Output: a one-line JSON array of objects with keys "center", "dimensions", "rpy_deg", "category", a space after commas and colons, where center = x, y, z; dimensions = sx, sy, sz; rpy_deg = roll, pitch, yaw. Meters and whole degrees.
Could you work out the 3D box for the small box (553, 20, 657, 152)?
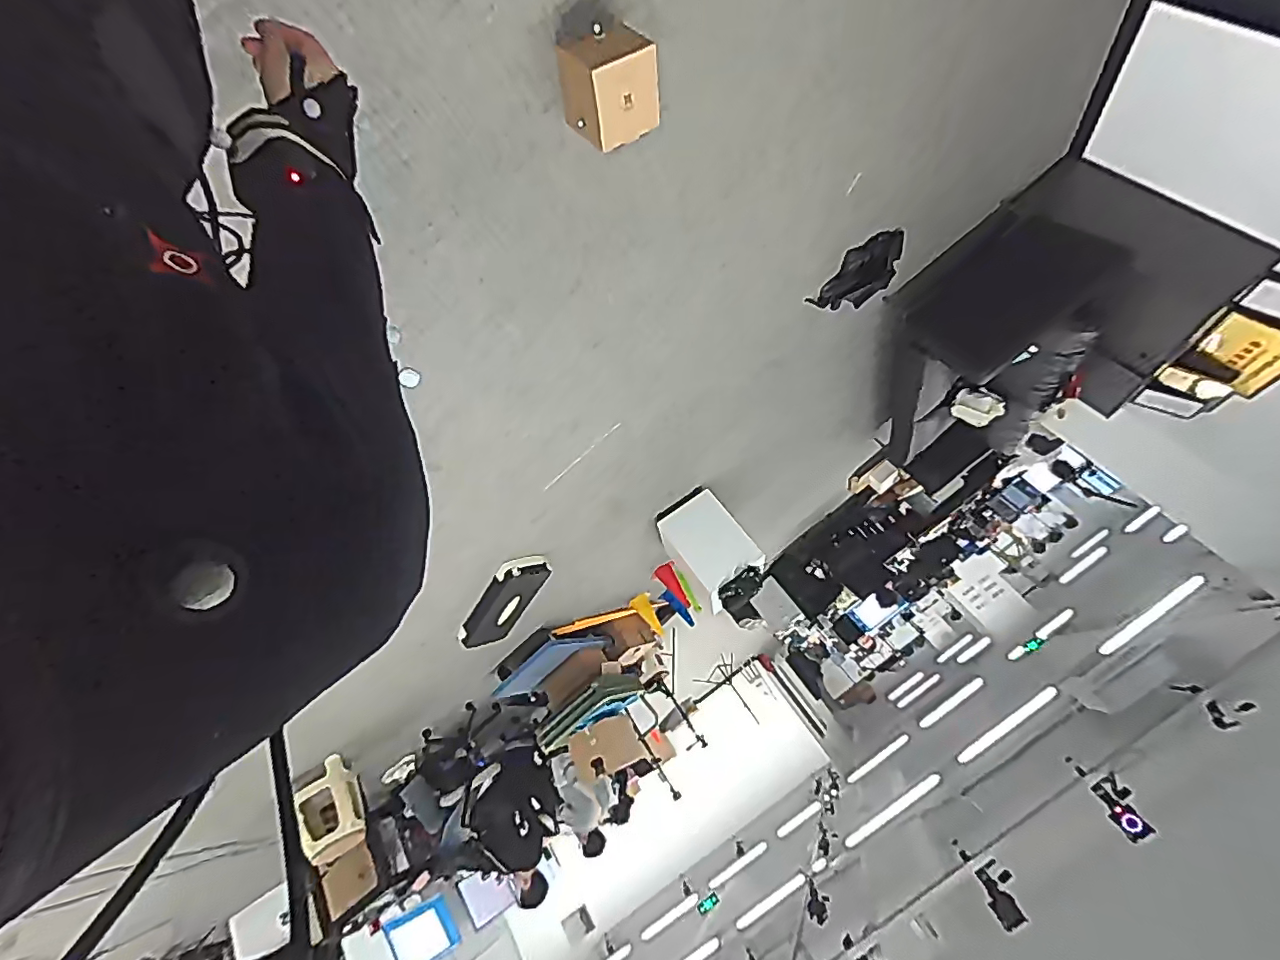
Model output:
[{"center": [-0.078, -0.909, 1.247], "dimensions": [0.168, 0.176, 0.179], "rpy_deg": [-33, 152, -12], "category": "small box"}]
